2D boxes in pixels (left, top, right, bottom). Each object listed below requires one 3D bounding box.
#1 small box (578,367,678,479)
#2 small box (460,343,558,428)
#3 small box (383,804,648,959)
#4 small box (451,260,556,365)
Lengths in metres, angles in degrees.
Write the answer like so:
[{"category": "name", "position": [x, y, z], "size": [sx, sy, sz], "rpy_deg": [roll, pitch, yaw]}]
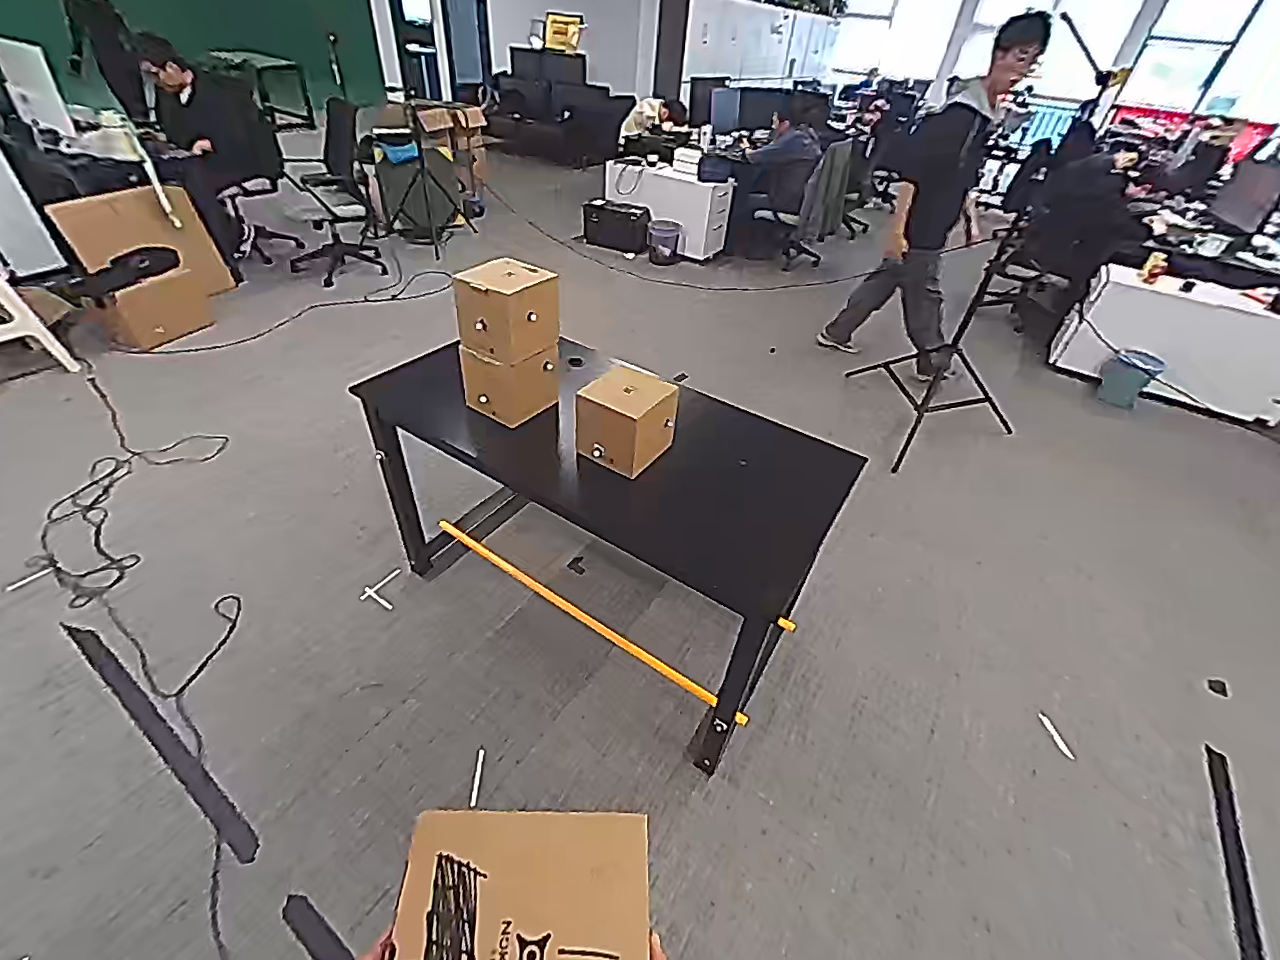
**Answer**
[{"category": "small box", "position": [-0.032, -0.133, 1.255], "size": [0.168, 0.176, 0.179], "rpy_deg": [25, 44, 22]}, {"category": "small box", "position": [-0.325, -0.261, 1.363], "size": [0.168, 0.176, 0.179], "rpy_deg": [27, 44, 23]}, {"category": "small box", "position": [-0.088, 0.366, 0.415], "size": [0.179, 0.176, 0.168], "rpy_deg": [4, 45, -5]}, {"category": "small box", "position": [-0.308, -0.391, 1.265], "size": [0.168, 0.176, 0.179], "rpy_deg": [25, 44, 21]}]
